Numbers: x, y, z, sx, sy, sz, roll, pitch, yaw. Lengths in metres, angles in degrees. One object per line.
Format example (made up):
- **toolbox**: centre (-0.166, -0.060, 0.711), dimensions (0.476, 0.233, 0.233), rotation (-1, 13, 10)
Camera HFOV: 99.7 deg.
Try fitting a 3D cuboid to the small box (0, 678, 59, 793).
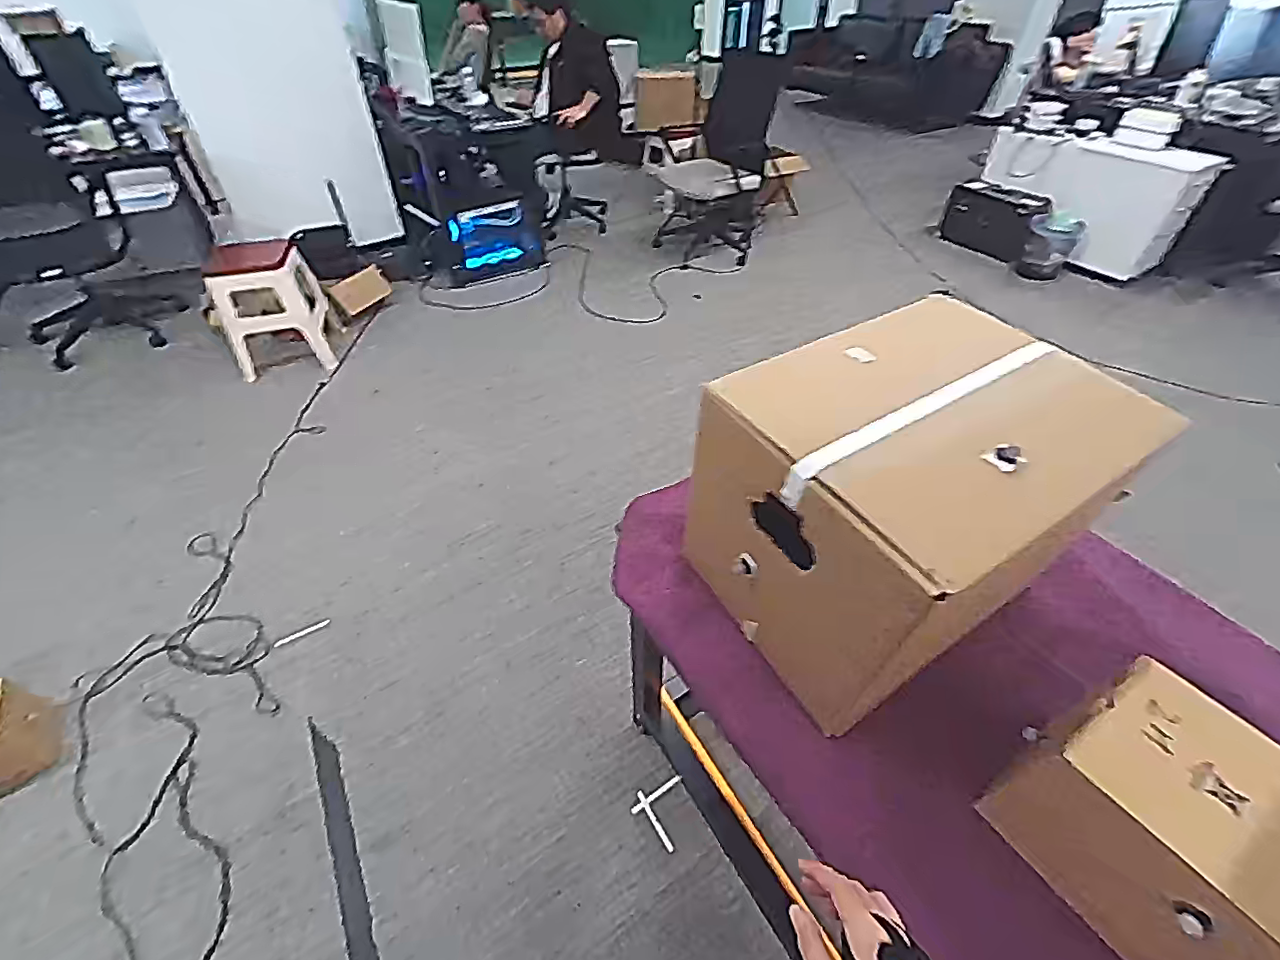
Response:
- **small box**: centre (-1.493, 0.600, 1.236), dimensions (0.168, 0.176, 0.179), rotation (-28, 51, -24)
